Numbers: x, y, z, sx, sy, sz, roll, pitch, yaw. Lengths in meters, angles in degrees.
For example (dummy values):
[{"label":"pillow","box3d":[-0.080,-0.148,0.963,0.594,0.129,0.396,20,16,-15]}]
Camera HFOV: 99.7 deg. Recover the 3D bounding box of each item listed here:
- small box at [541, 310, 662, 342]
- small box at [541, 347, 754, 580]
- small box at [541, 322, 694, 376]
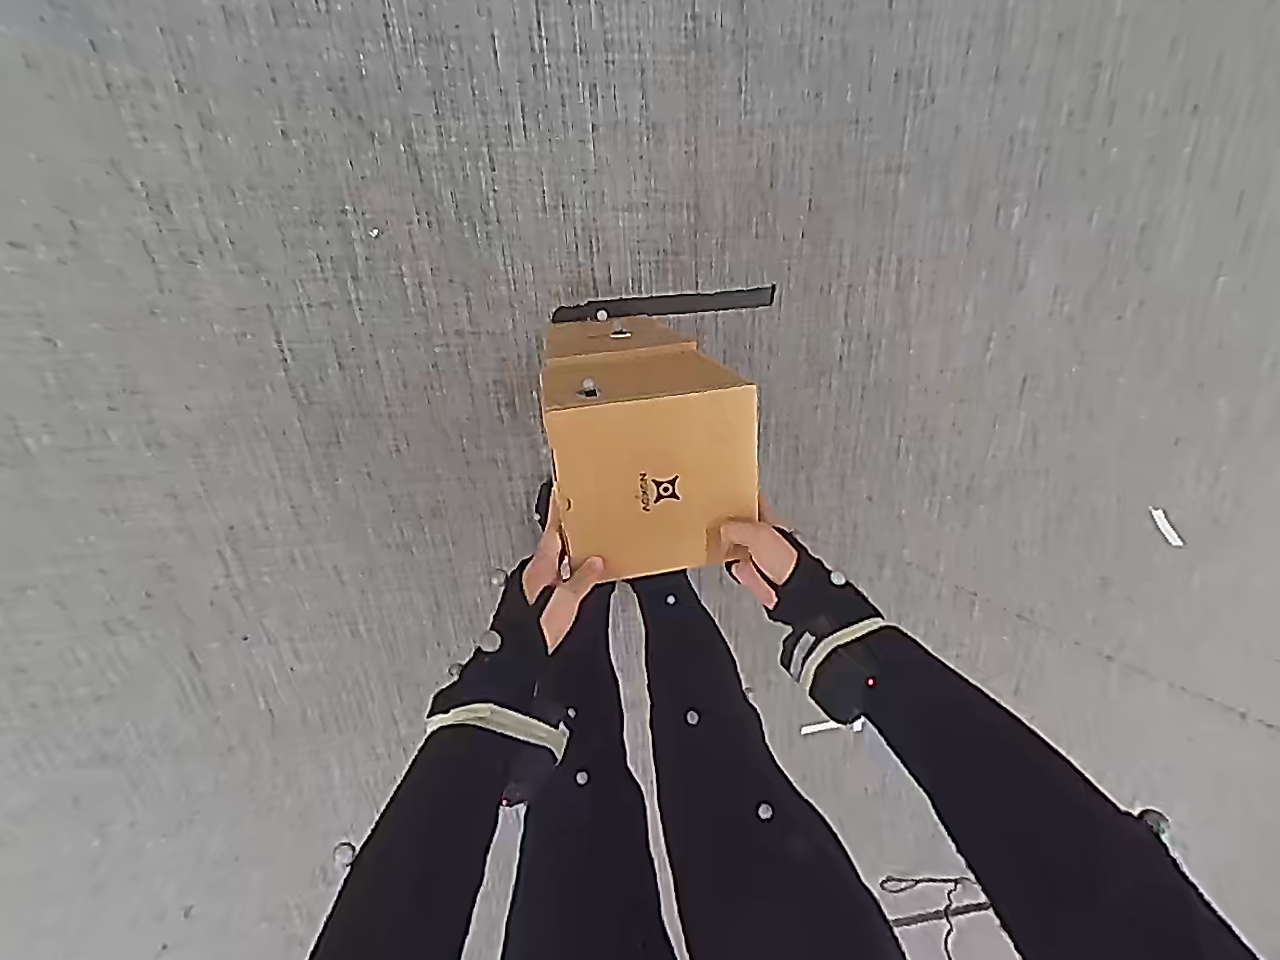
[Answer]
[{"label":"small box","box3d":[-0.055,-0.155,0.827,0.168,0.176,0.179,-8,113,-6]},{"label":"small box","box3d":[0.000,-0.028,0.533,0.179,0.176,0.168,-9,115,-6]},{"label":"small box","box3d":[-0.028,-0.094,0.679,0.168,0.176,0.179,-9,113,-7]}]
